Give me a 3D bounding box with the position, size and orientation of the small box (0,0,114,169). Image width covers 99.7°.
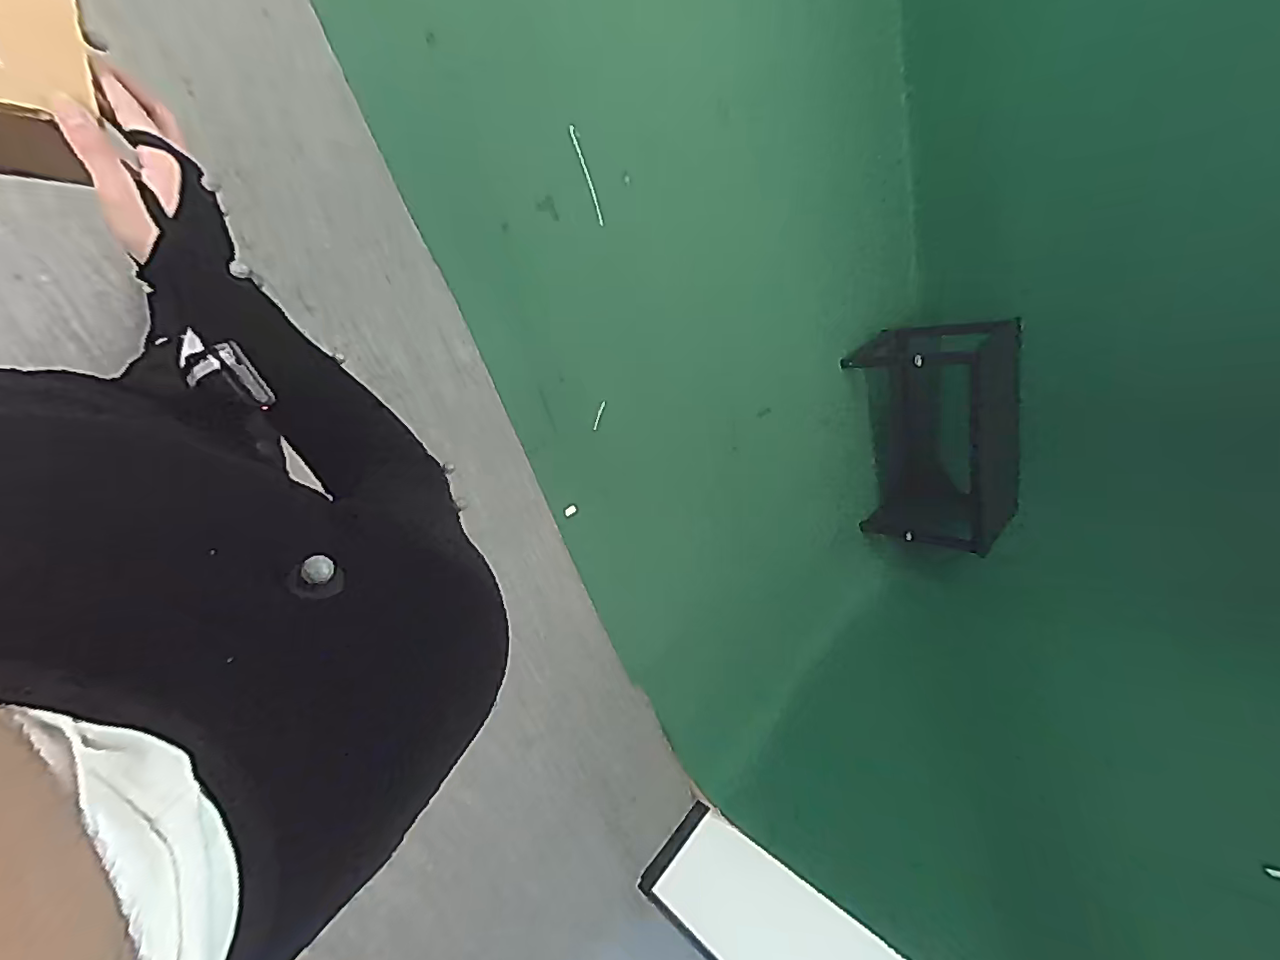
[{"bbox_3d":[-0.505,-0.346,0.381,0.168,0.176,0.179,-12,105,-40],"label":"small box"}]
